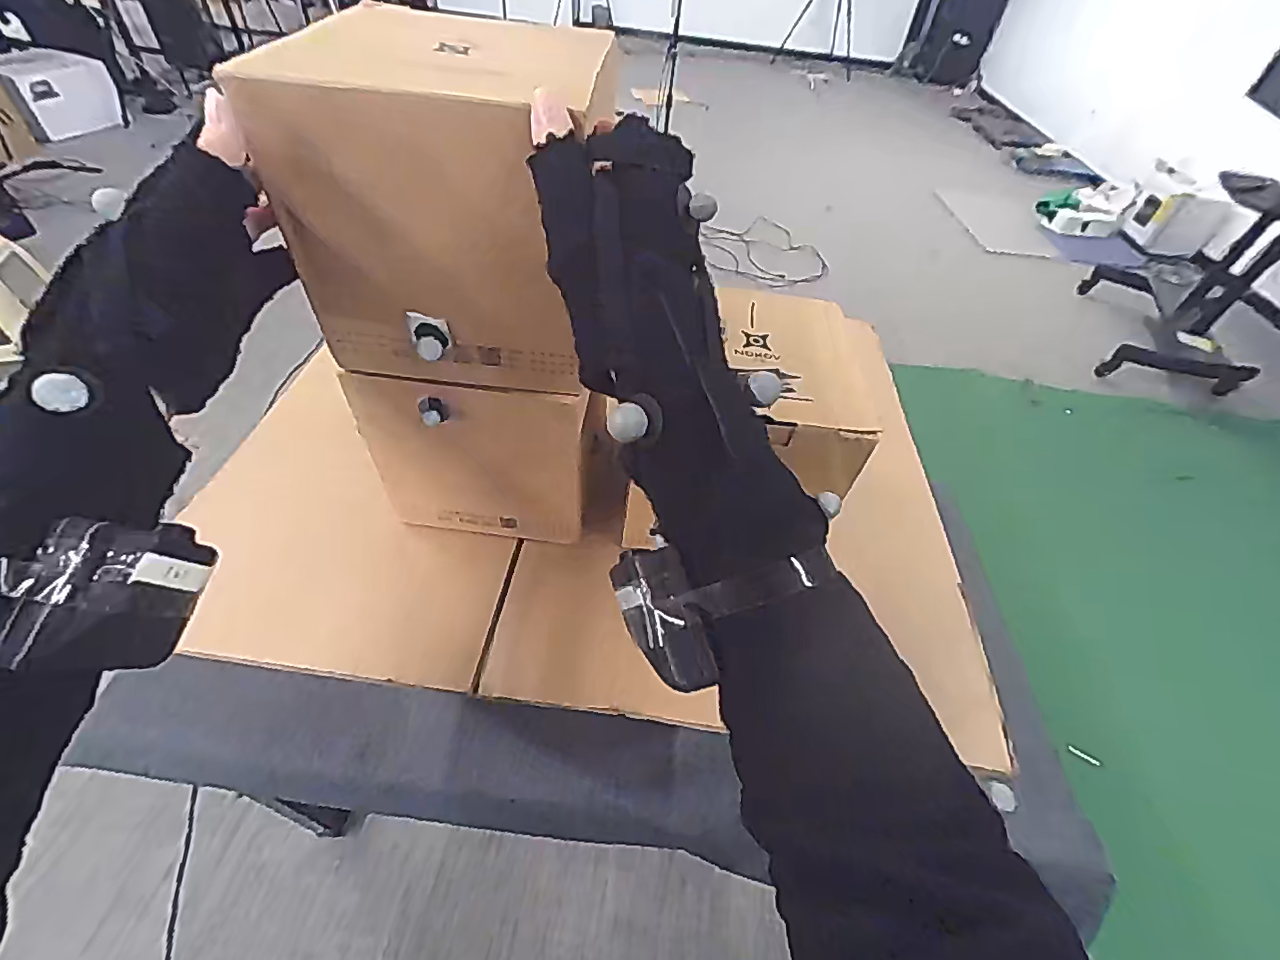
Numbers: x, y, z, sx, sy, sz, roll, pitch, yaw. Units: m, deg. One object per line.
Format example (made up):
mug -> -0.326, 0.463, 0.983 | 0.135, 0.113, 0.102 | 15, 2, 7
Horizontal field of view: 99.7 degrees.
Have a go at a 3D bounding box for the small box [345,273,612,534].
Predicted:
small box -> -0.122, -0.078, 0.486 | 0.168, 0.176, 0.179 | 7, 48, 2

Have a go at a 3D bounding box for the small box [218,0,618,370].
small box -> -0.108, -0.198, 0.353 | 0.168, 0.176, 0.179 | 6, 49, -2
